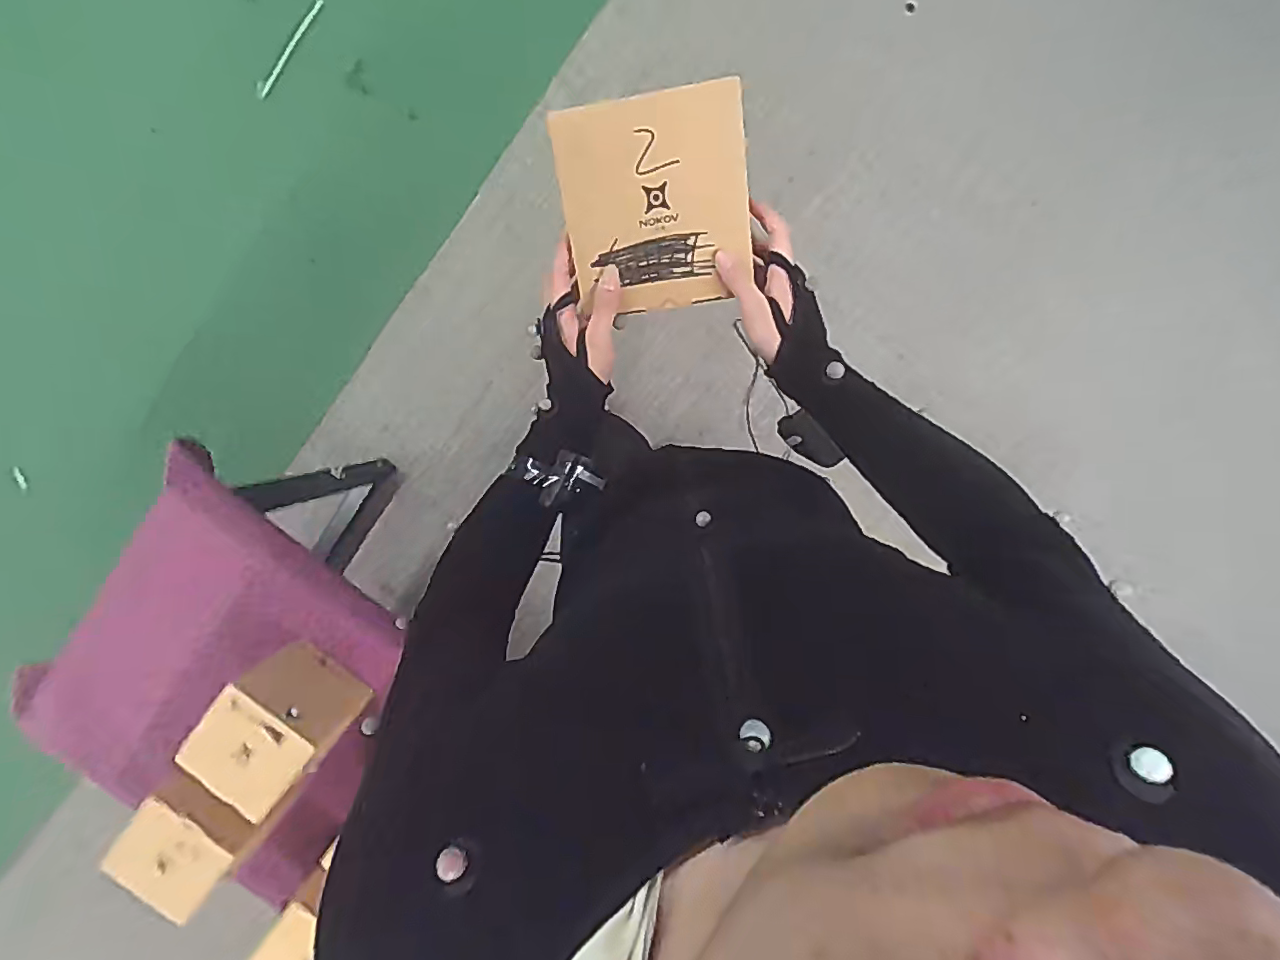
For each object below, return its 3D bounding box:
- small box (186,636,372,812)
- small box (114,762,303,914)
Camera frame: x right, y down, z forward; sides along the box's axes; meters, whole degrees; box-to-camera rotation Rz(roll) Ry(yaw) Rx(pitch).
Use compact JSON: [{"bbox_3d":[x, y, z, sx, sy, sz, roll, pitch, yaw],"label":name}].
[{"bbox_3d":[-0.602,0.406,0.926,0.168,0.176,0.179,39,100,-2],"label":"small box"},{"bbox_3d":[-0.753,0.599,0.965,0.168,0.176,0.179,39,98,-2],"label":"small box"}]
